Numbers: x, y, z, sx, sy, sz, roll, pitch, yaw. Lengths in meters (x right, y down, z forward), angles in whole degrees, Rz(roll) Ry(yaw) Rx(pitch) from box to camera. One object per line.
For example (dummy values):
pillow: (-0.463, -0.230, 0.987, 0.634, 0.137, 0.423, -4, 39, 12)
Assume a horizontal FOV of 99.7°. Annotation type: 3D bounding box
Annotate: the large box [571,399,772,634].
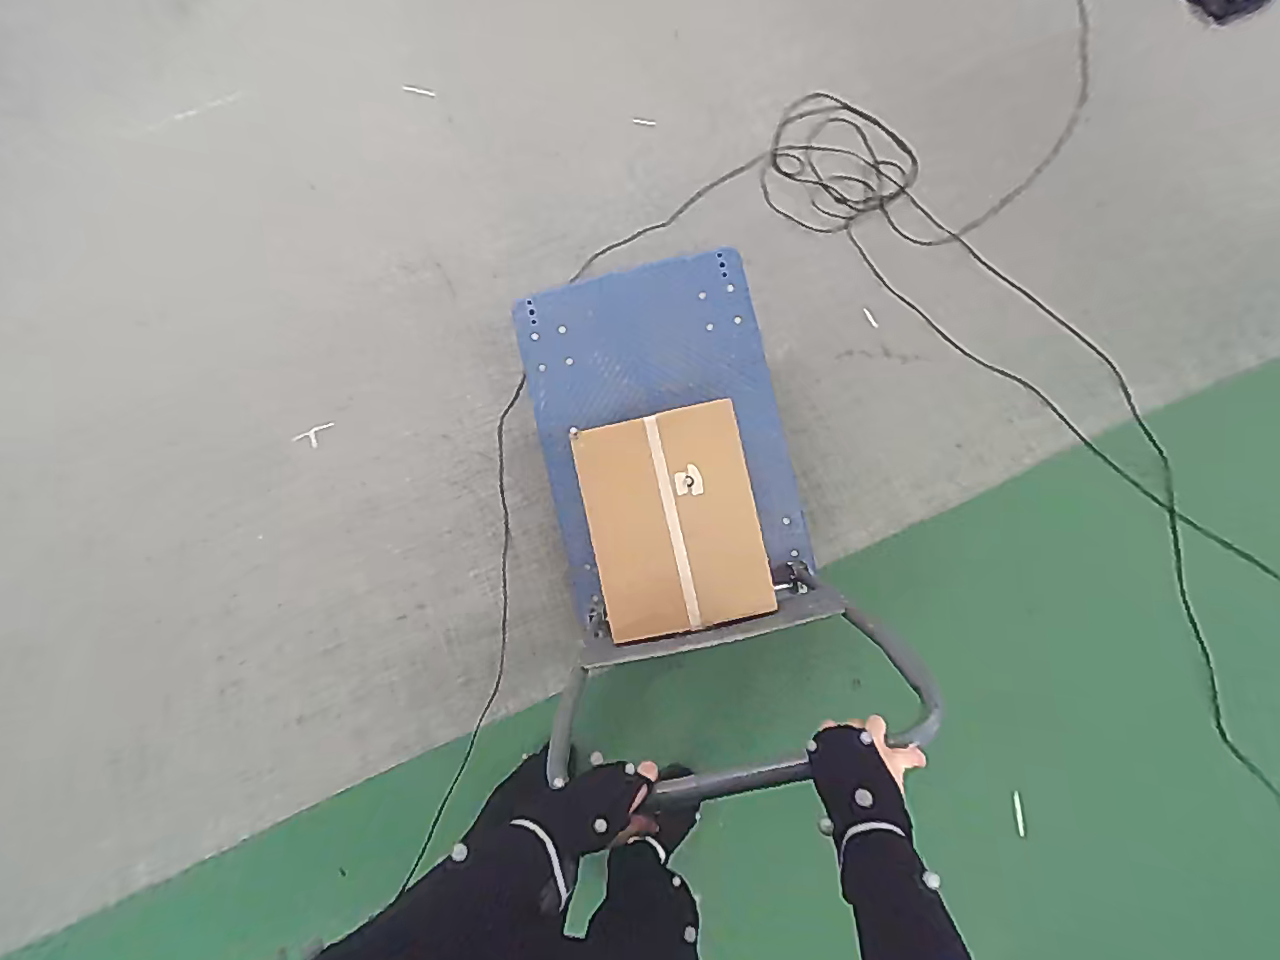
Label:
large box: (0.068, 0.077, 1.179, 0.320, 0.320, 0.408, -13, 87, 2)
